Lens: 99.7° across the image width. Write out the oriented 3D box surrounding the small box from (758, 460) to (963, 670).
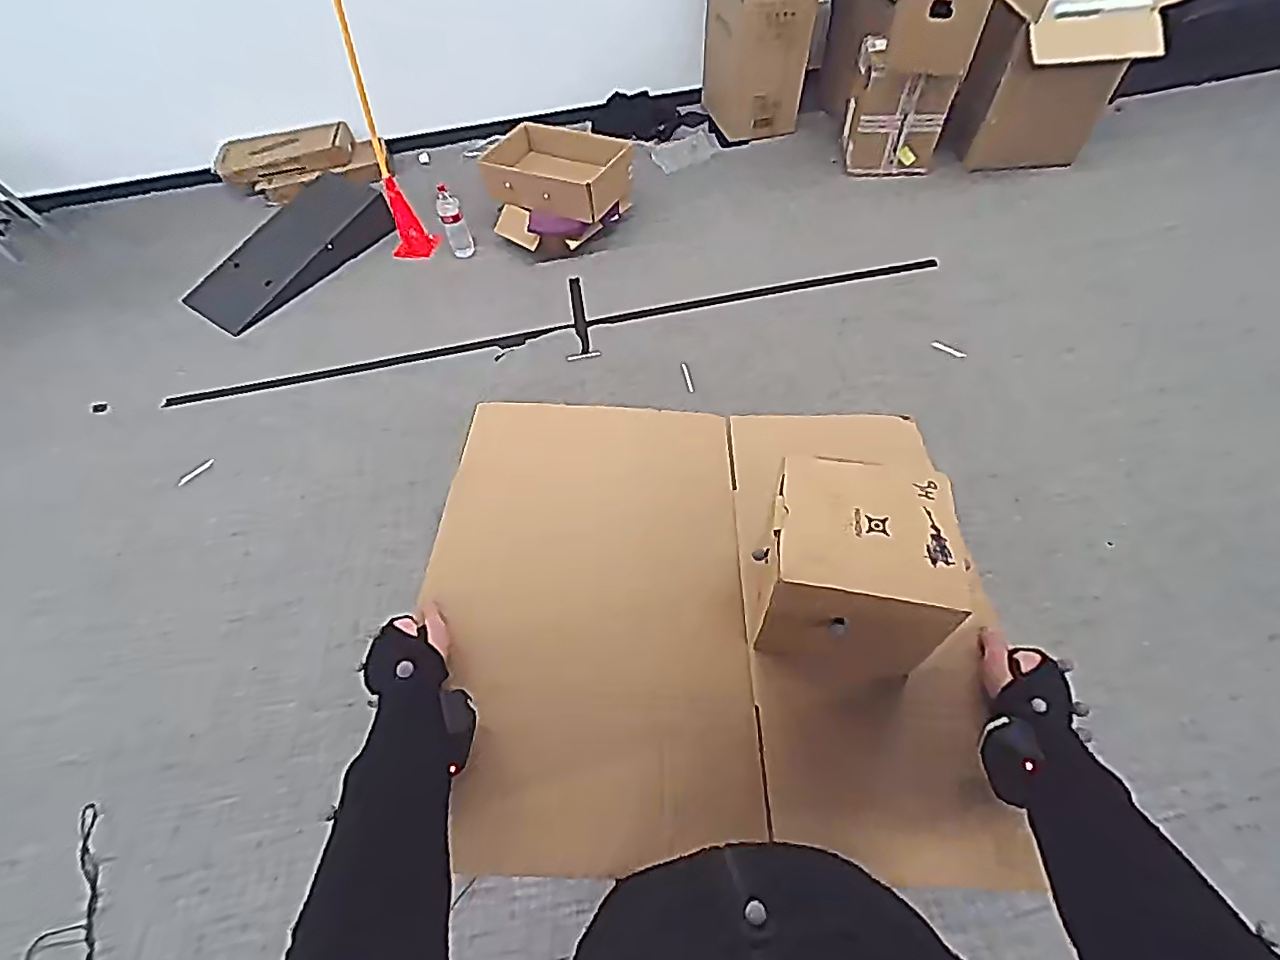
[{"bbox_3d":[0.233,0.100,0.618,0.179,0.176,0.168,7,53,10],"label":"small box"}]
